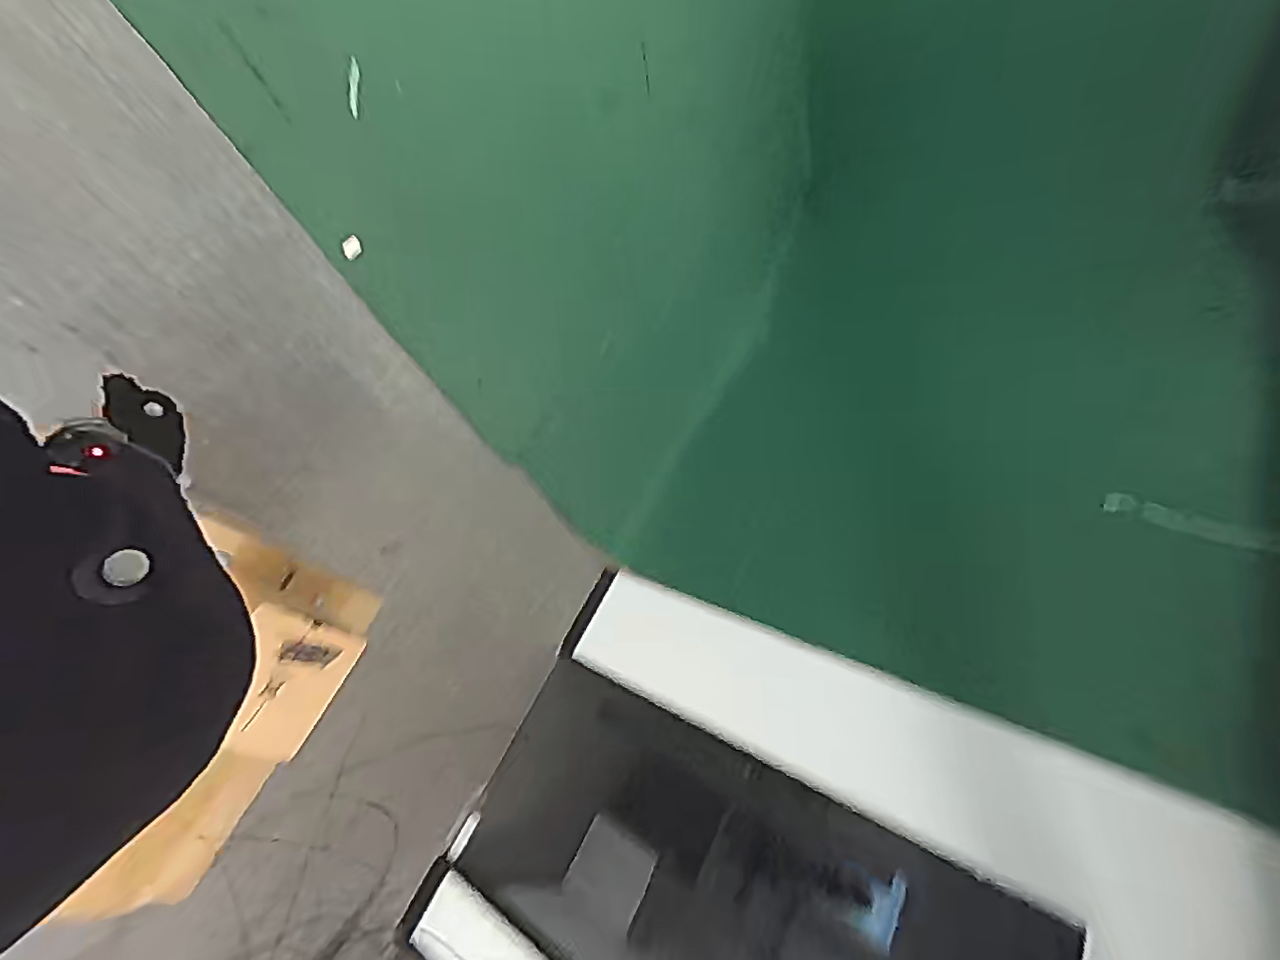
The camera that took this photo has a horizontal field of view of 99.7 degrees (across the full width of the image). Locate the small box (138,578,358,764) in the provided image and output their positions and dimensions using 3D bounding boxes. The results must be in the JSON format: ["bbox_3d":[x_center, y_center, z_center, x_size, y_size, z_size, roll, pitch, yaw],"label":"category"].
[{"bbox_3d":[-0.547,0.259,0.756,0.168,0.176,0.179,48,62,-44],"label":"small box"}]
